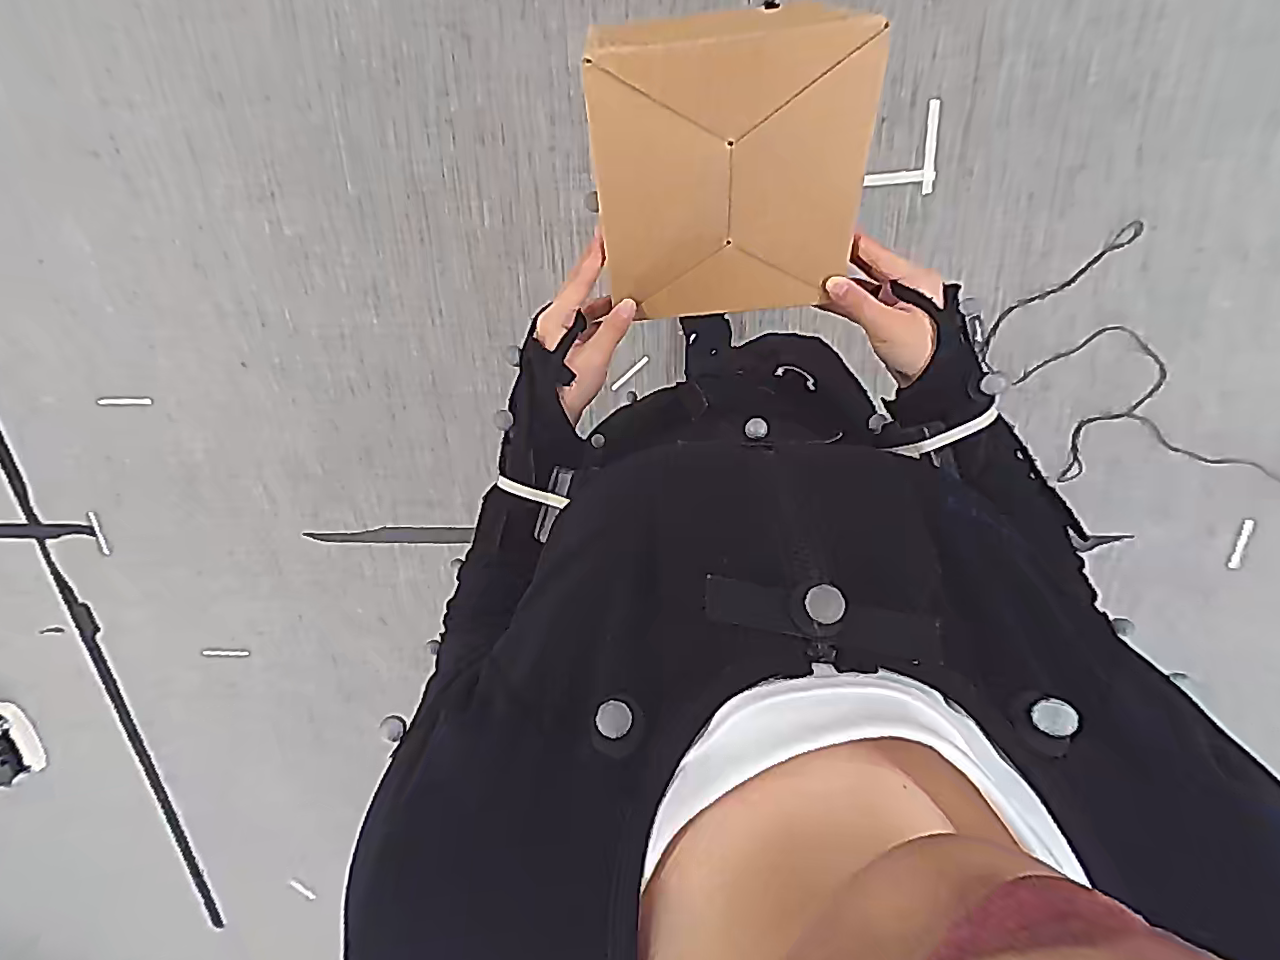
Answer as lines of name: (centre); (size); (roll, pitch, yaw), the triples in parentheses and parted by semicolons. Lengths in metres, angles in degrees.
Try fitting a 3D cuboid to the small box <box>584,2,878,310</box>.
small box: (0.055, -0.248, 0.418); (0.179, 0.176, 0.168); (-4, 134, 3)
